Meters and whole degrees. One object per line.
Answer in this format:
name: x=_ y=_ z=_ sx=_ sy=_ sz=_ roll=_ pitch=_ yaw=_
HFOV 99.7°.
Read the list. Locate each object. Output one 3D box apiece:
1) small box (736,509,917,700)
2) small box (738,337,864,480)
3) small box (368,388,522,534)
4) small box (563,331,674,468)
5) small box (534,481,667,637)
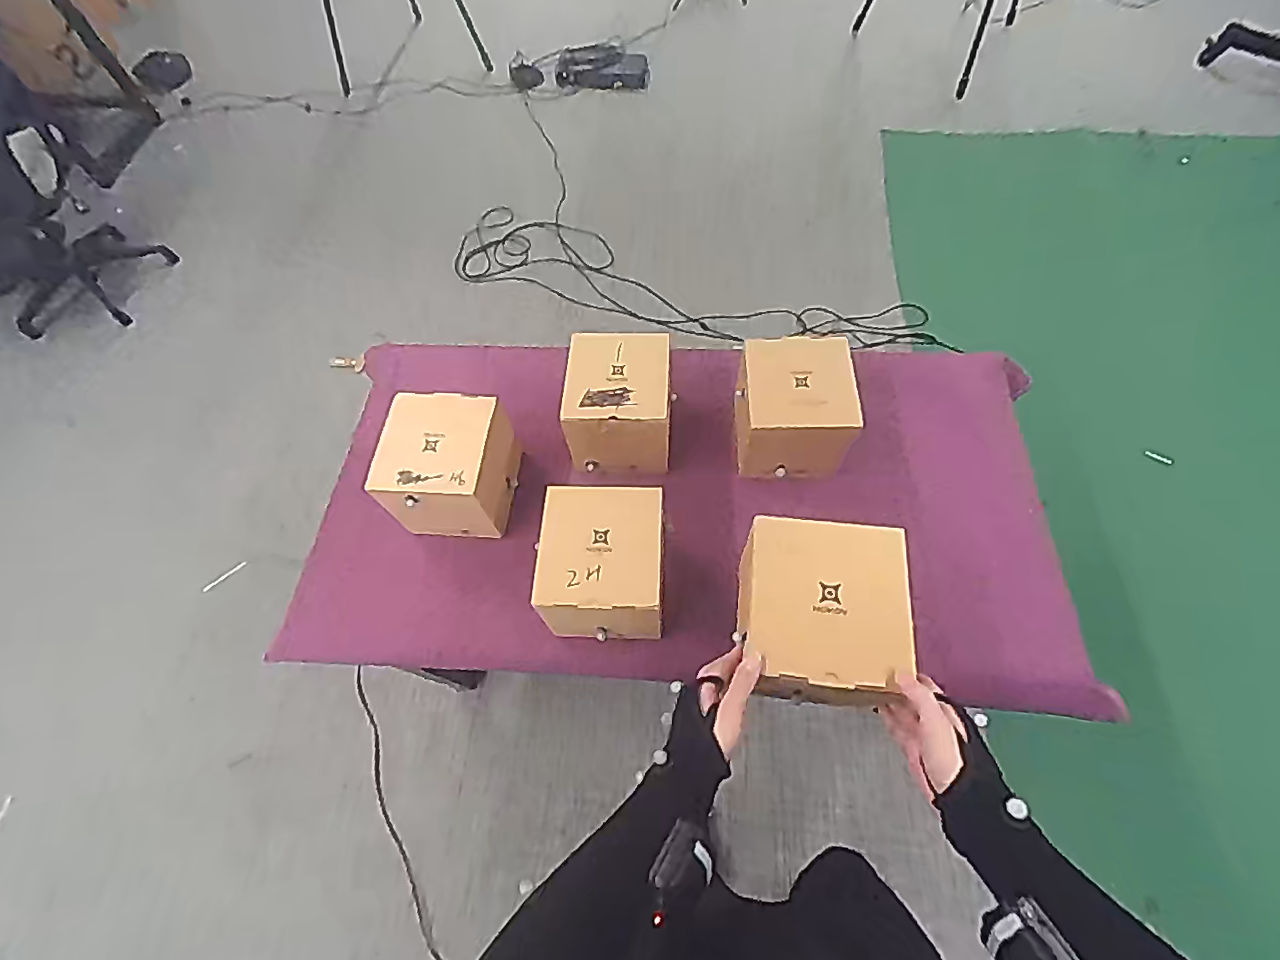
small box: x=0.208 y=0.154 z=0.647 sx=0.168 sy=0.176 sz=0.179 roll=6 pitch=65 yaw=7
small box: x=0.257 y=-0.117 z=0.906 sx=0.168 sy=0.176 sz=0.179 roll=1 pitch=63 yaw=4
small box: x=-0.301 y=-0.028 z=0.883 sx=0.168 sy=0.176 sz=0.179 roll=3 pitch=62 yaw=6
small box: x=-0.027 y=-0.132 z=0.927 sx=0.168 sy=0.176 sz=0.179 roll=2 pitch=62 yaw=4
small box: x=-0.047 y=0.119 z=0.794 sx=0.168 sy=0.176 sz=0.179 roll=2 pitch=61 yaw=4
